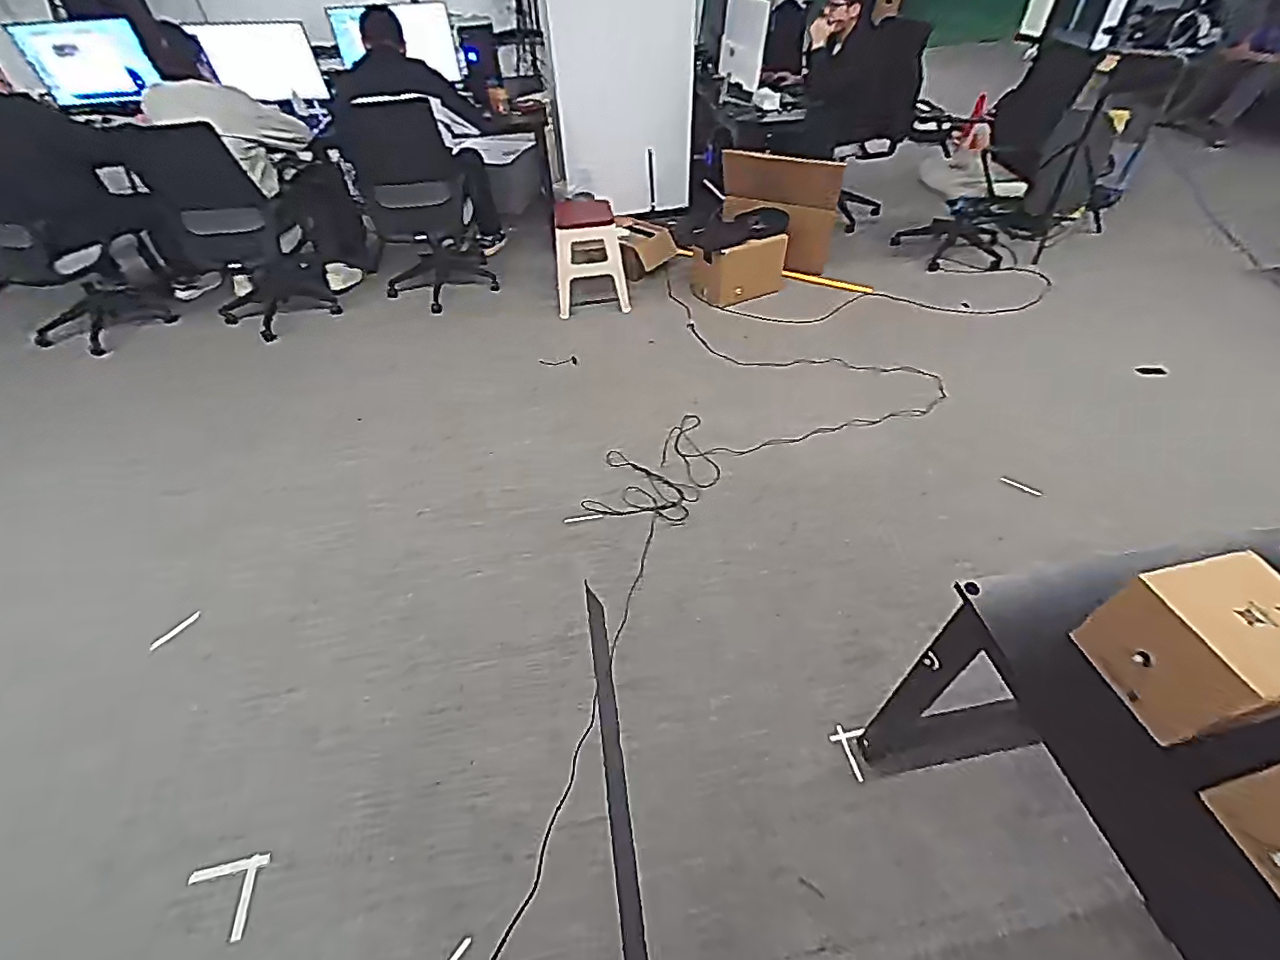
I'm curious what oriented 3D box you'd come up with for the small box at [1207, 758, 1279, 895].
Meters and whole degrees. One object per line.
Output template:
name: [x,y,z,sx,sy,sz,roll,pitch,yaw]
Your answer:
small box: [0.788,0.374,0.567,0.179,0.176,0.168,-9,47,-5]
